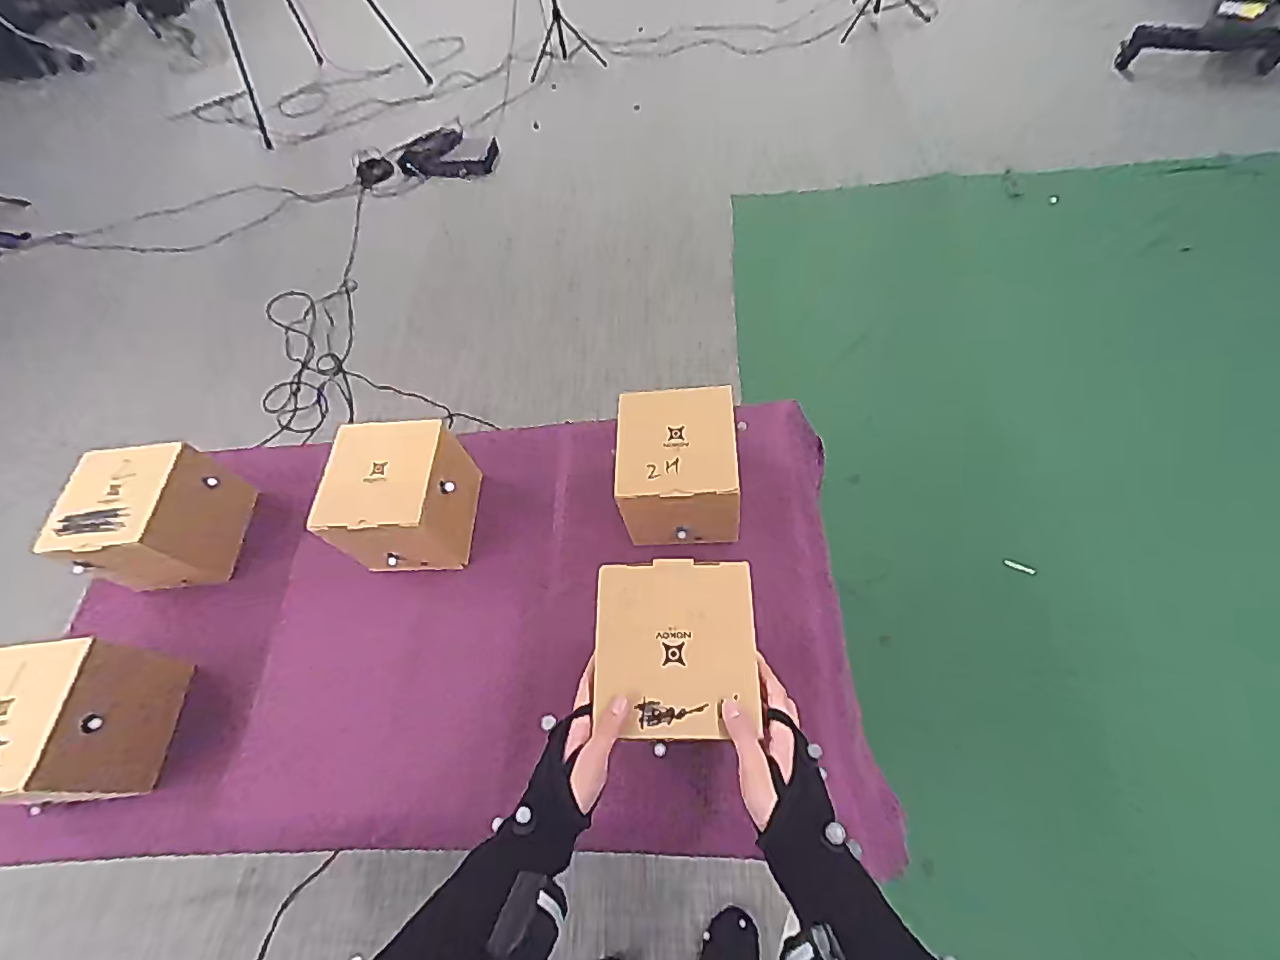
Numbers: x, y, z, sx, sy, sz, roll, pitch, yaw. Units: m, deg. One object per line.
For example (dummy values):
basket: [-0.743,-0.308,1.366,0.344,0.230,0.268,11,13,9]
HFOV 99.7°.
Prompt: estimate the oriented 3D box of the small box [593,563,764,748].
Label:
small box: [0.045,0.206,0.622,0.168,0.176,0.179,-2,62,6]

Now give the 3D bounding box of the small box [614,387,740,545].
small box: [0.059,-0.016,0.807,0.168,0.176,0.179,-3,61,8]

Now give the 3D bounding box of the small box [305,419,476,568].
small box: [-0.367,0.025,0.837,0.168,0.176,0.179,-2,62,5]

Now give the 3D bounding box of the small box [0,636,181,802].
small box: [-0.767,0.319,0.711,0.168,0.176,0.179,-6,58,2]
